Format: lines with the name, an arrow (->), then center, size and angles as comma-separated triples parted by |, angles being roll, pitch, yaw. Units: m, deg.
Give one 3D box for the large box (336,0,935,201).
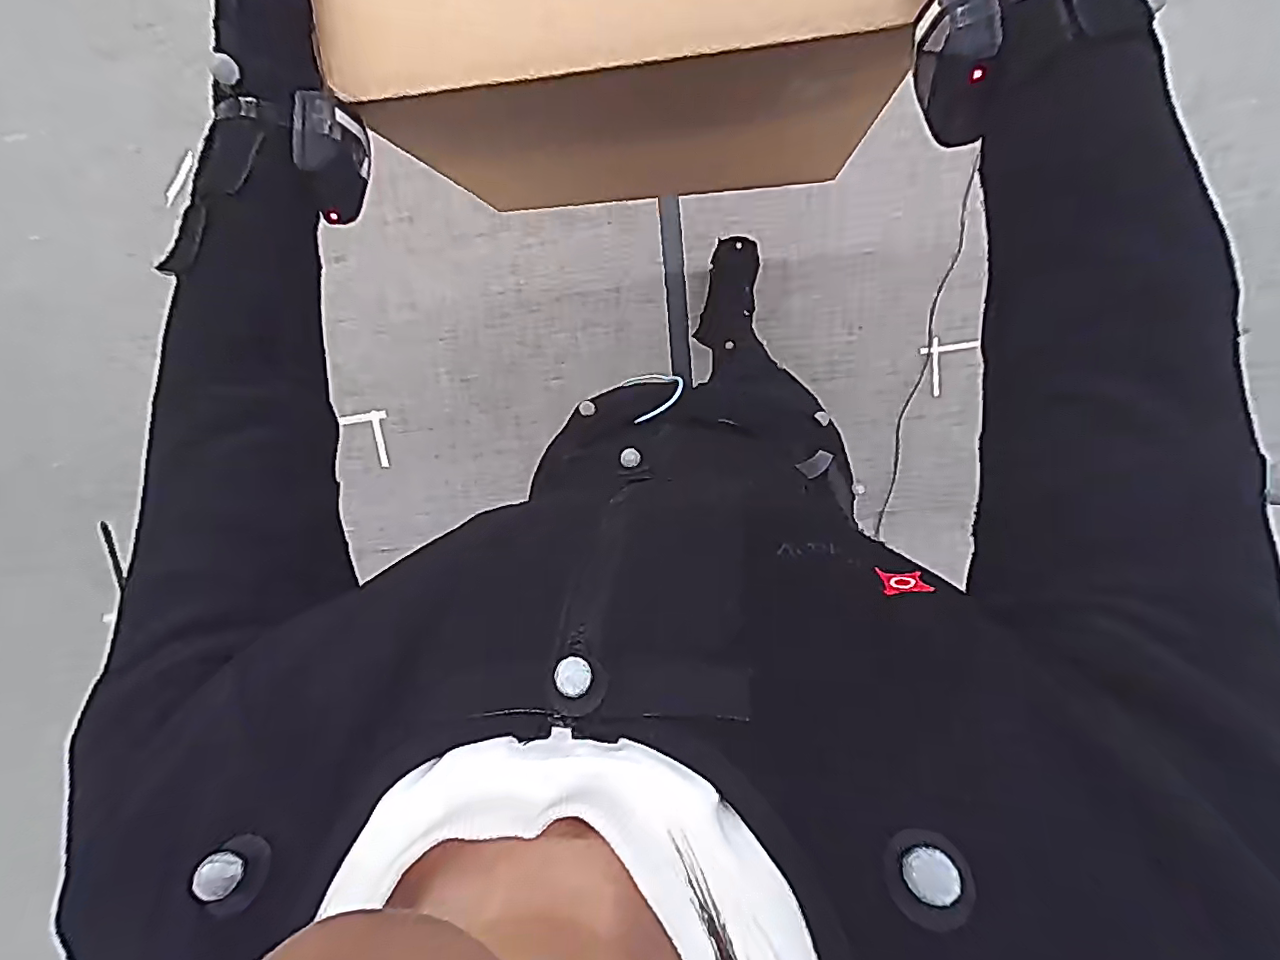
large box -> -0.003, -0.467, 0.466 | 0.408, 0.320, 0.320 | -2, 104, 8
